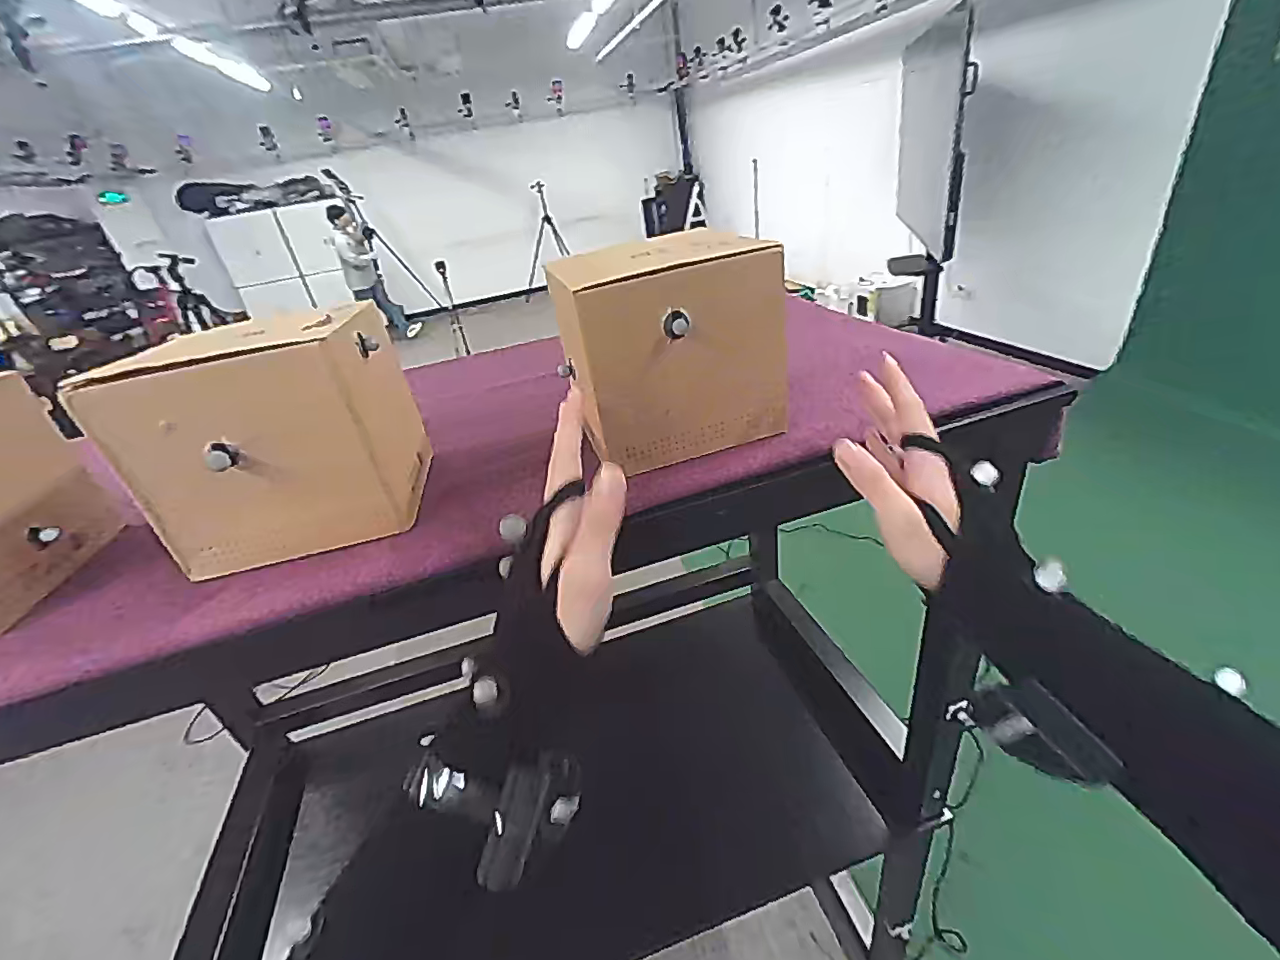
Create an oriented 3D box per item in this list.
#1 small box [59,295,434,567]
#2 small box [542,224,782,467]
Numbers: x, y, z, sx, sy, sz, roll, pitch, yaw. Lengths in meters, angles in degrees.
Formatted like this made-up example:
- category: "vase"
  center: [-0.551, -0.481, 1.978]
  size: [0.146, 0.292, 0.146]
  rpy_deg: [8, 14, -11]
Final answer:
- category: "small box"
  center: [-0.304, -0.048, 0.471]
  size: [0.179, 0.176, 0.168]
  rpy_deg: [-15, 29, -6]
- category: "small box"
  center: [0.020, -0.131, 0.511]
  size: [0.179, 0.176, 0.168]
  rpy_deg: [-16, 31, -9]
